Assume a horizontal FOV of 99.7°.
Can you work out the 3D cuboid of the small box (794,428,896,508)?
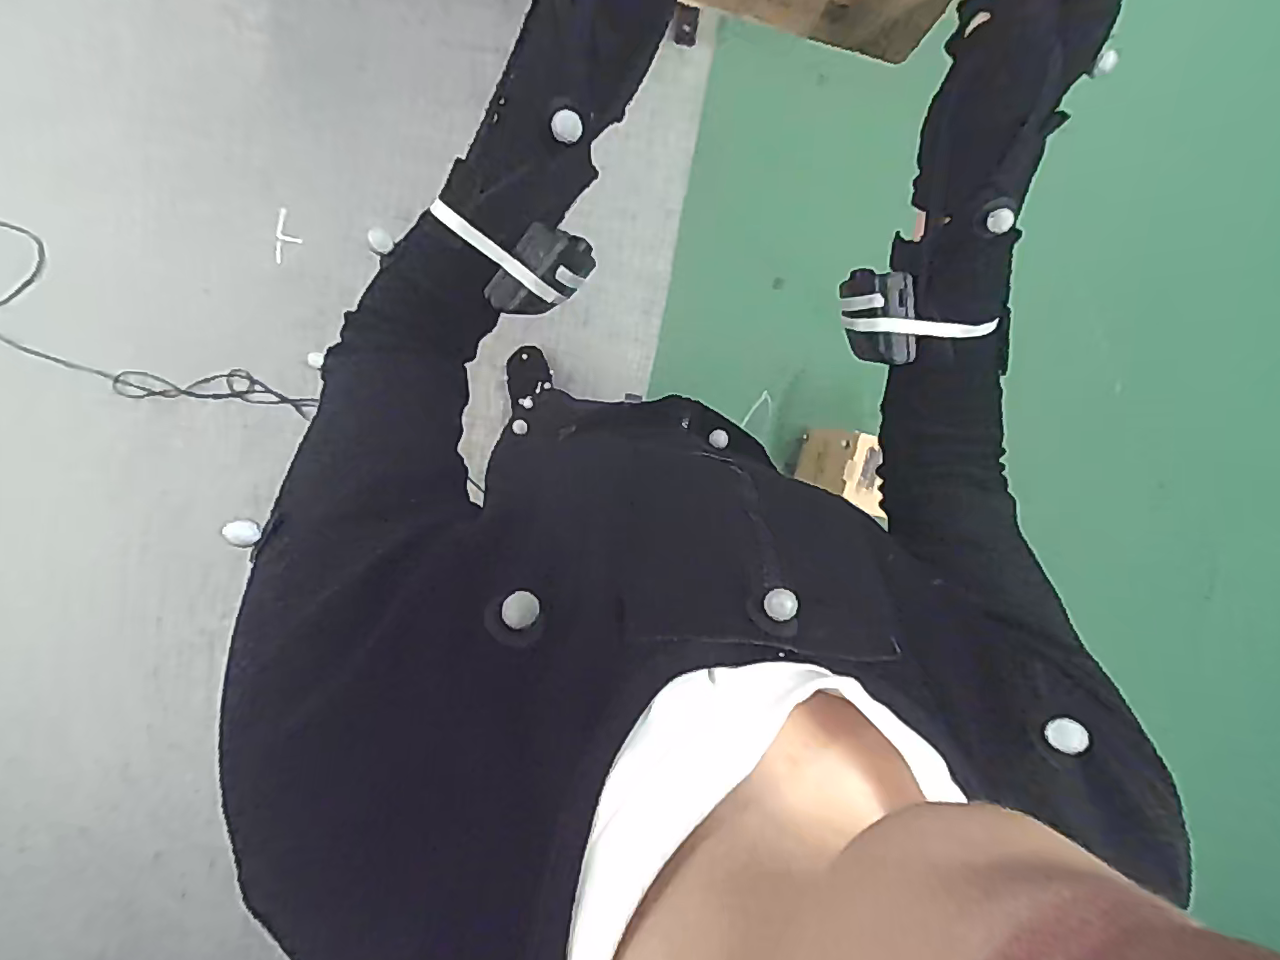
[{"bbox_3d":[0.518,-0.038,1.397,0.179,0.176,0.168,13,98,-4],"label":"small box"}]

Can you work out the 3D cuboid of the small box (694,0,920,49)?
[{"bbox_3d":[0.112,-0.387,0.280,0.168,0.176,0.179,9,93,-7],"label":"small box"}]
